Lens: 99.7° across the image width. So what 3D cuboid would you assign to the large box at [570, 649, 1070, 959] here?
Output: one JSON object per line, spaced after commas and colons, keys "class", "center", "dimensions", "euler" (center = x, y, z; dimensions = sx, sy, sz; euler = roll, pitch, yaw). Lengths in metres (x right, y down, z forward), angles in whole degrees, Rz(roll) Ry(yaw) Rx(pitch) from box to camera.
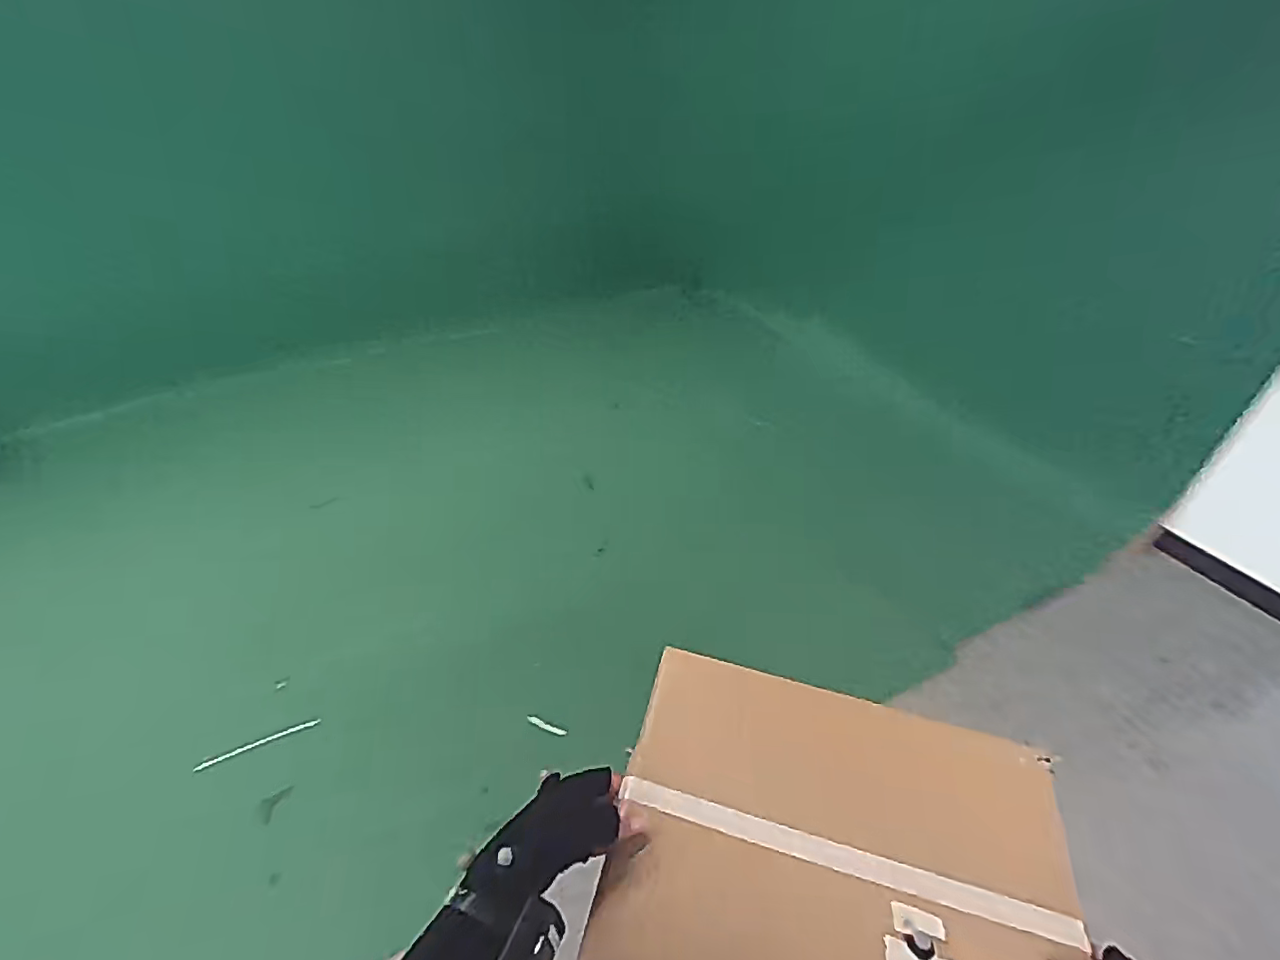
{"class": "large box", "center": [0.165, 0.442, 0.601], "dimensions": [0.408, 0.320, 0.320], "euler": [12, 46, 11]}
